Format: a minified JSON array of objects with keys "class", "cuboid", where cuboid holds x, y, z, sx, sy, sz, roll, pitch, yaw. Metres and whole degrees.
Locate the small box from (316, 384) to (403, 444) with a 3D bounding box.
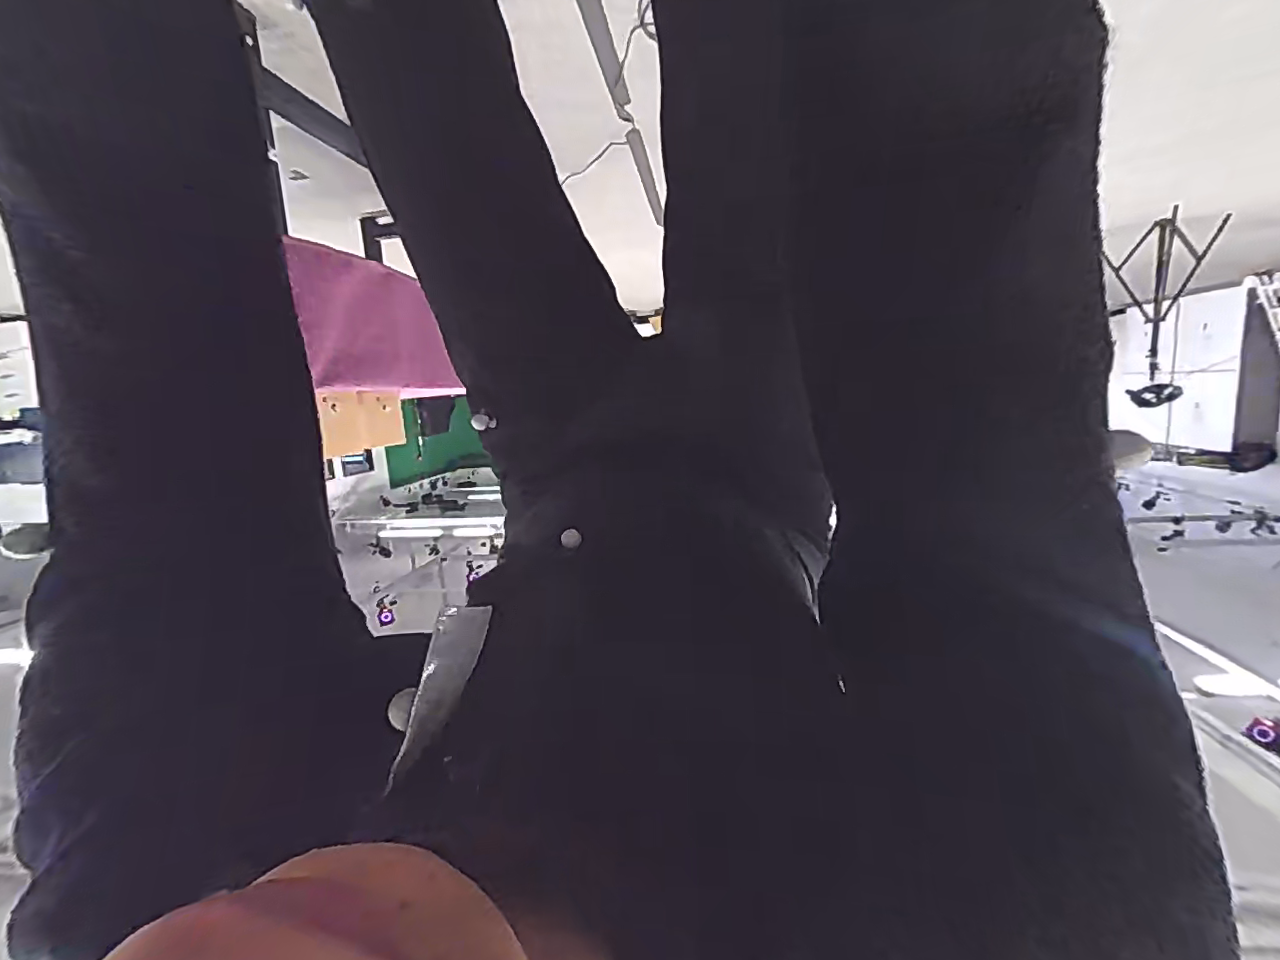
[{"class":"small box","cuboid":[-0.865,-0.205,1.667,0.179,0.176,0.168,-2,-170,14]}]
